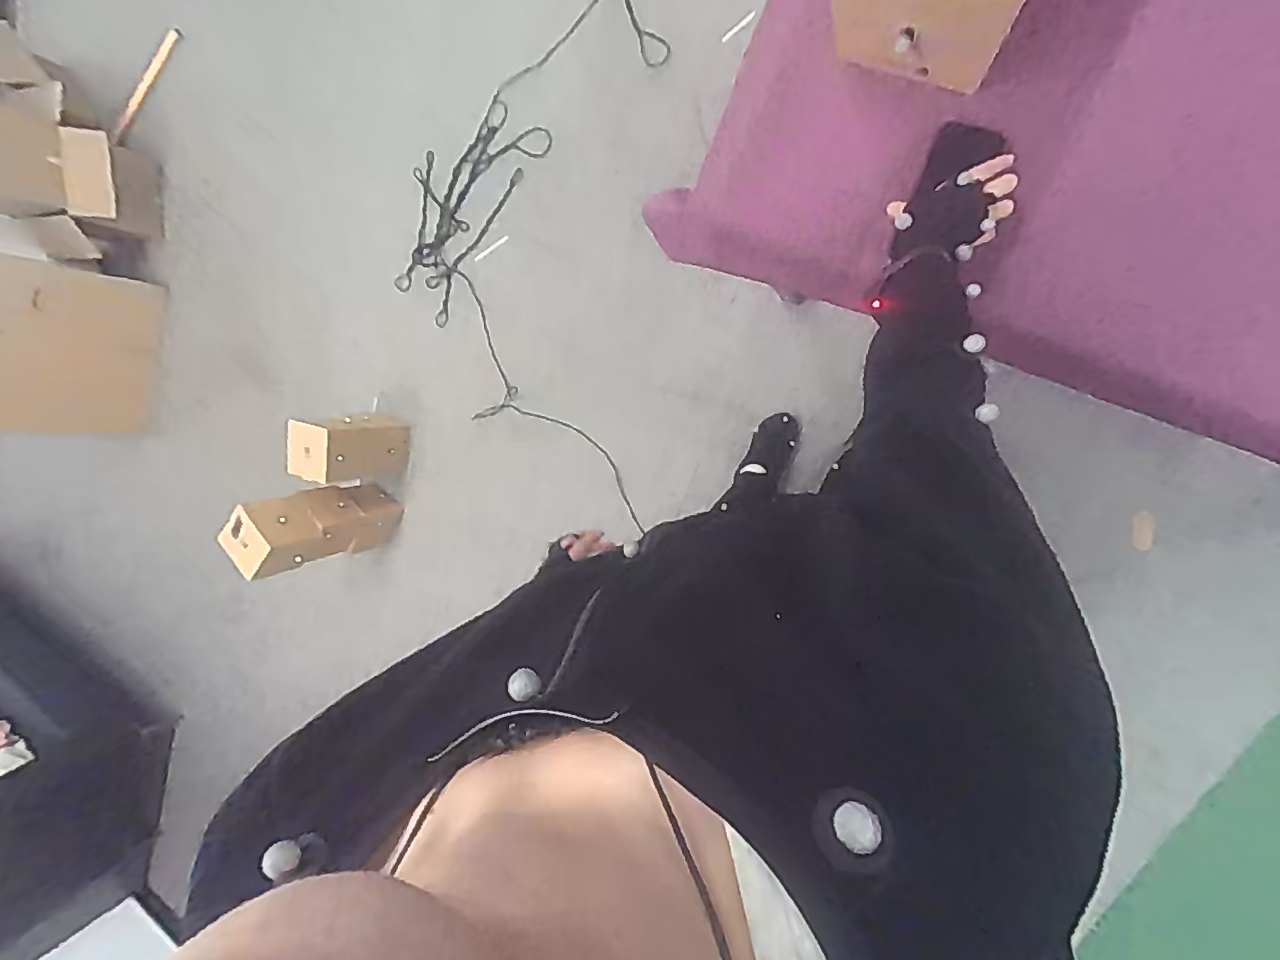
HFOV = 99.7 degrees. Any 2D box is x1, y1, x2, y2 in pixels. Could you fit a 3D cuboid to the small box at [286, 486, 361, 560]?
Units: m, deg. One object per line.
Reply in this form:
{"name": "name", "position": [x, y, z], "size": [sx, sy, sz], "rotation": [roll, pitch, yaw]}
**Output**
{"name": "small box", "position": [-1.061, 0.141, 1.780], "size": [0.168, 0.176, 0.179], "rotation": [43, 110, 12]}

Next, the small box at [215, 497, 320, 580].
{"name": "small box", "position": [-1.116, 0.167, 1.627], "size": [0.179, 0.176, 0.168], "rotation": [48, 111, 9]}

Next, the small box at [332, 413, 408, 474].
{"name": "small box", "position": [-0.932, -0.134, 1.861], "size": [0.179, 0.176, 0.168], "rotation": [19, 105, 19]}

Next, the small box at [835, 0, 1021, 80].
{"name": "small box", "position": [0.300, -0.529, 0.513], "size": [0.168, 0.176, 0.179], "rotation": [29, 108, 16]}

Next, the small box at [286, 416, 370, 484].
{"name": "small box", "position": [-0.984, -0.100, 1.710], "size": [0.168, 0.176, 0.179], "rotation": [15, 103, 19]}
